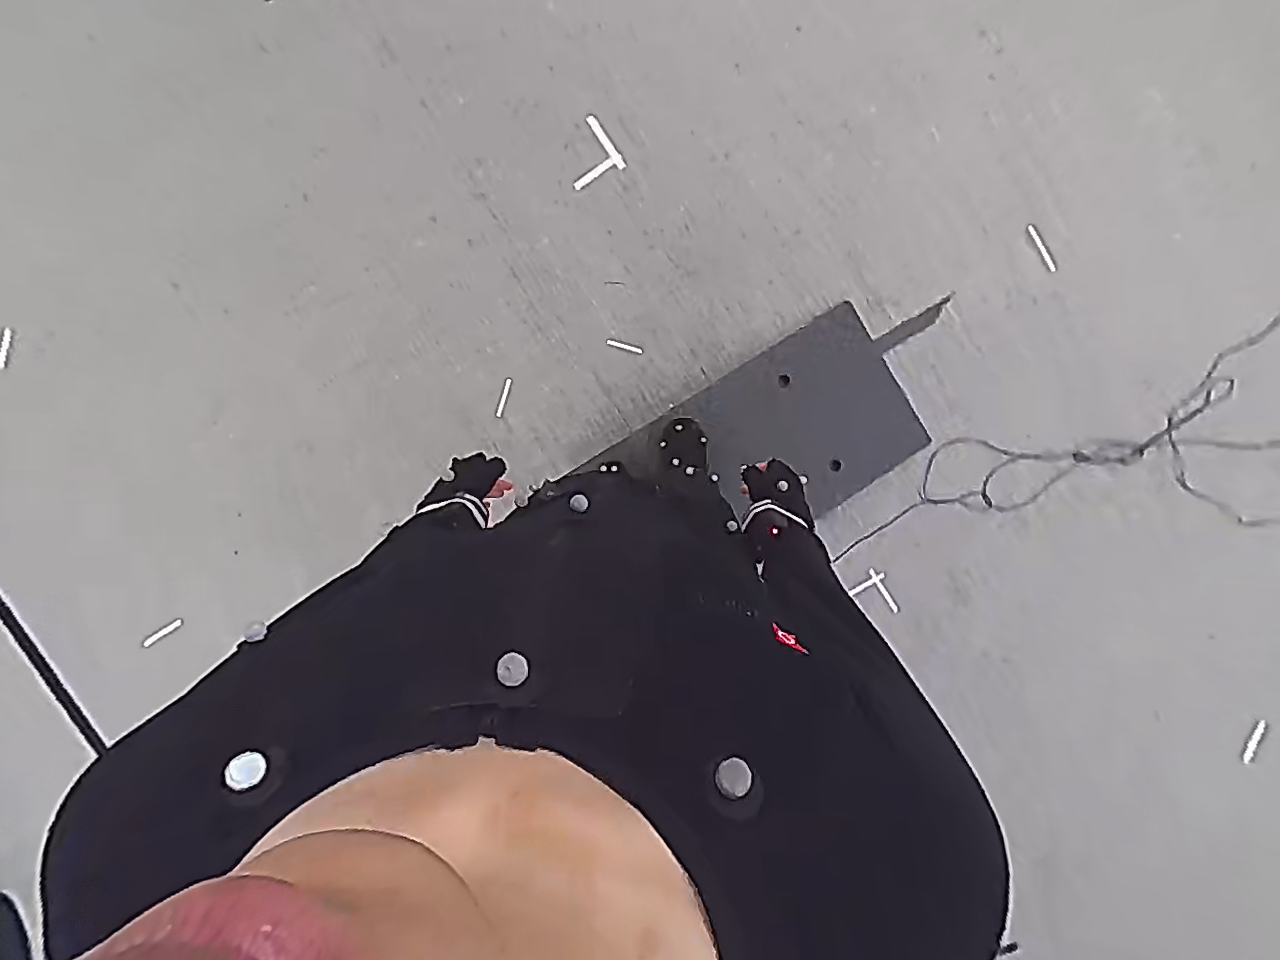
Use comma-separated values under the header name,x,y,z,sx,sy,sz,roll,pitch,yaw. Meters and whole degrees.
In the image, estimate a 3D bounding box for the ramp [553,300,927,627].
name,x,y,z,sx,sy,sz,roll,pitch,yaw
ramp,0.301,-0.061,1.532,0.991,0.206,0.509,-34,91,5
